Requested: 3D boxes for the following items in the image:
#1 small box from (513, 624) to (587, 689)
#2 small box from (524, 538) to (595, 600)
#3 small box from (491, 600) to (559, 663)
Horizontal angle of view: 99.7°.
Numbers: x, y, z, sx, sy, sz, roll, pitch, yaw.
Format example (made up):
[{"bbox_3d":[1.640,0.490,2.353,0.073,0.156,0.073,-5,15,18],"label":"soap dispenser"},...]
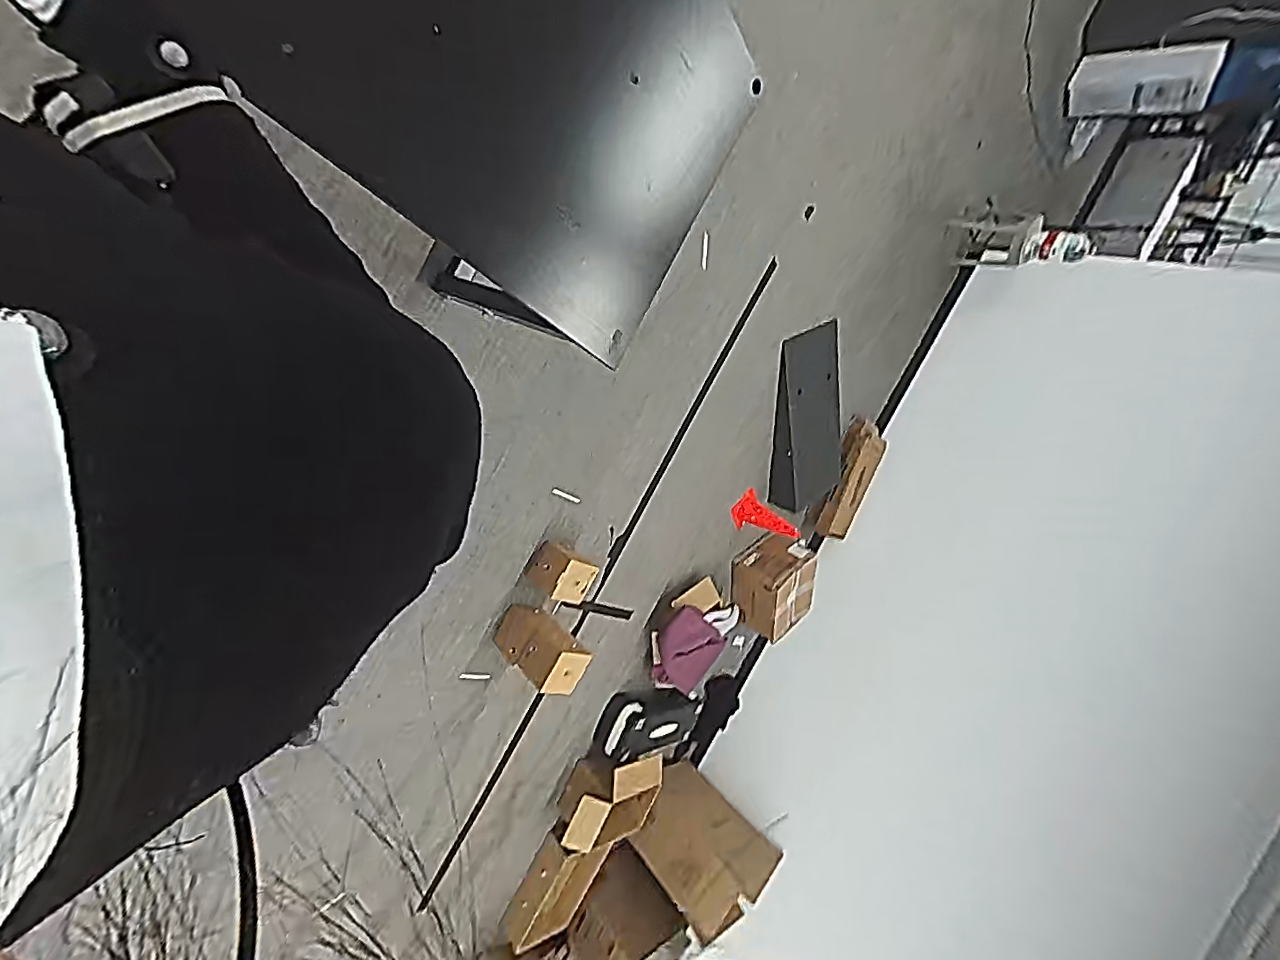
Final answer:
[{"bbox_3d":[-0.338,0.660,2.026,0.179,0.176,0.168,29,90,-49],"label":"small box"},{"bbox_3d":[-0.318,0.345,2.112,0.179,0.176,0.168,31,88,-50],"label":"small box"},{"bbox_3d":[-0.456,0.598,2.119,0.168,0.176,0.179,26,93,-51],"label":"small box"}]
